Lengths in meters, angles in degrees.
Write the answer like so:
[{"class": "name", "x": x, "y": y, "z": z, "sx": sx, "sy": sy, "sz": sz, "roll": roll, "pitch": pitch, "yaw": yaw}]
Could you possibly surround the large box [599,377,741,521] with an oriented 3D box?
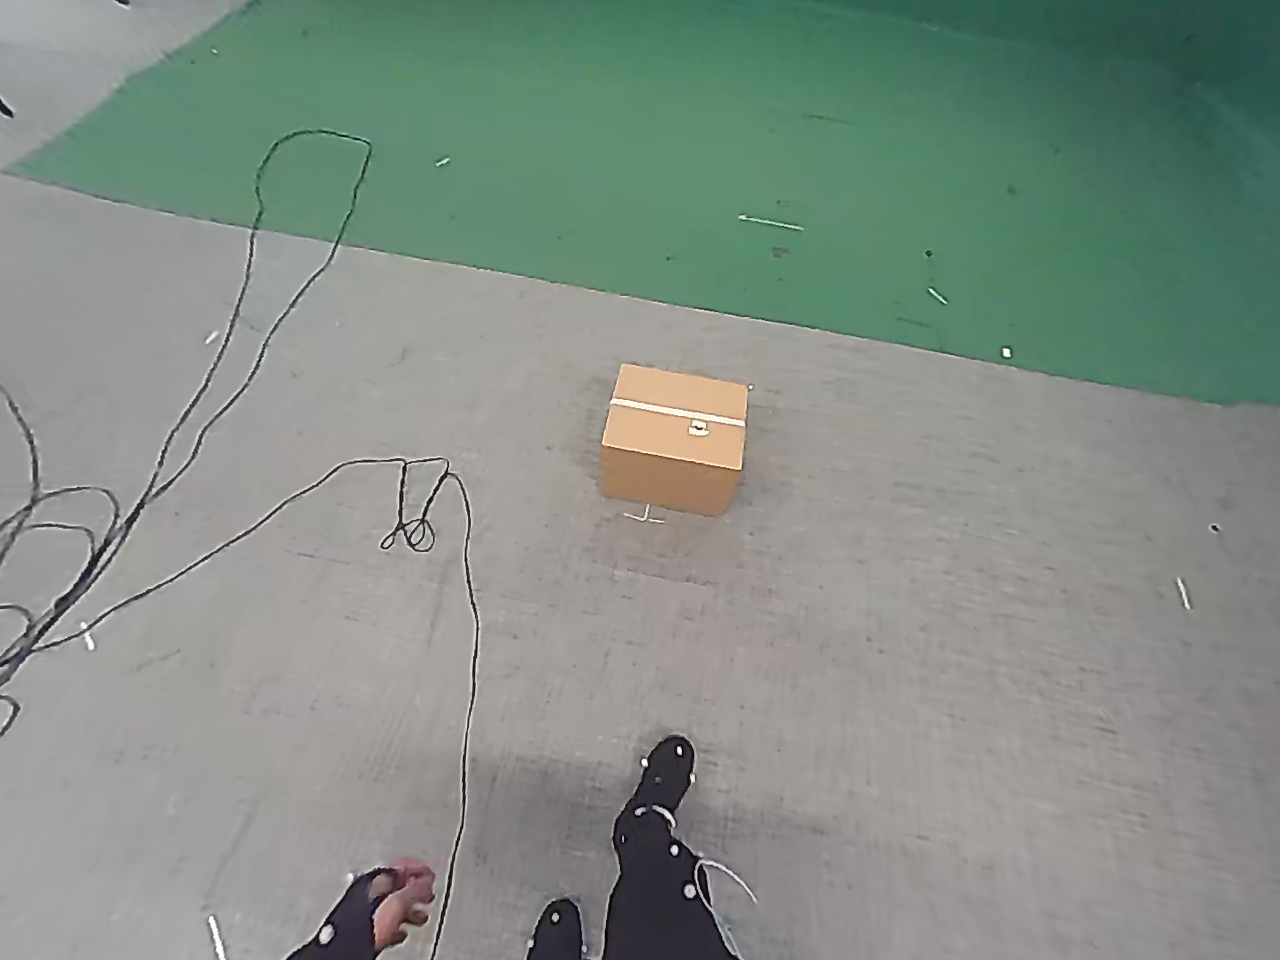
[{"class": "large box", "x": 0.087, "y": -0.092, "z": 1.746, "sx": 0.408, "sy": 0.320, "sz": 0.320, "roll": 10, "pitch": 59, "yaw": 1}]
